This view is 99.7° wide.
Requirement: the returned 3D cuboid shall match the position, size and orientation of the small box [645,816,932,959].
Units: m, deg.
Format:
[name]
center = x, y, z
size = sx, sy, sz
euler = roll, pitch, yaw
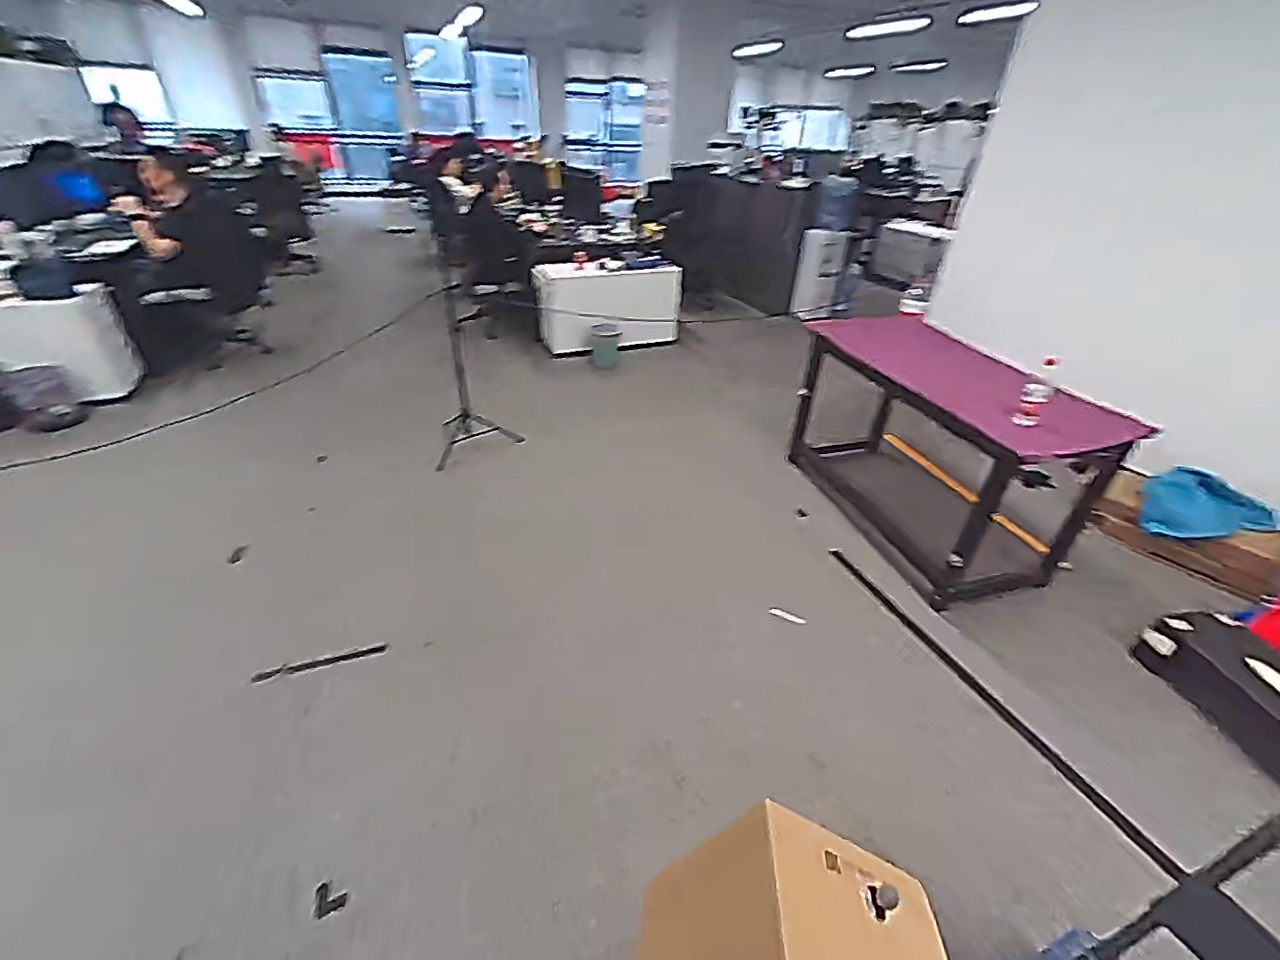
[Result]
[small box]
center = 0.109, 0.394, 0.396
size = 0.168, 0.179, 0.176
euler = 32, 25, -11
